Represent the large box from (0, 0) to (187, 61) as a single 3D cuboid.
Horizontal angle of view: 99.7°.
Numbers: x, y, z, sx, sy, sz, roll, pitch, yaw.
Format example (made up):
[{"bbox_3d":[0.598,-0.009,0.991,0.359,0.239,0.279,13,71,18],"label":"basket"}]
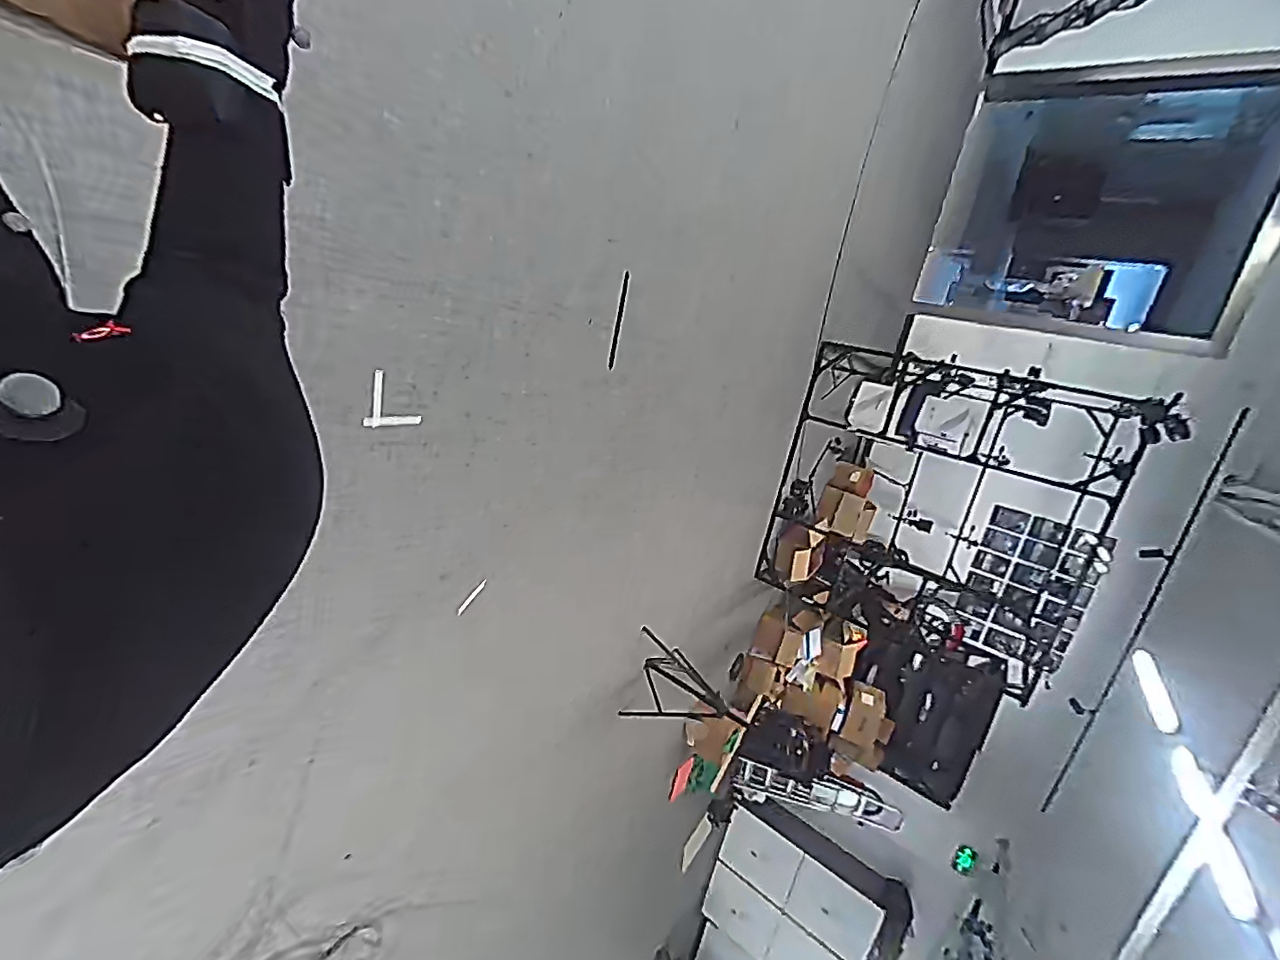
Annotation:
[{"bbox_3d":[-0.506,-0.500,0.256,0.408,0.320,0.320,-6,124,-59],"label":"large box"}]
